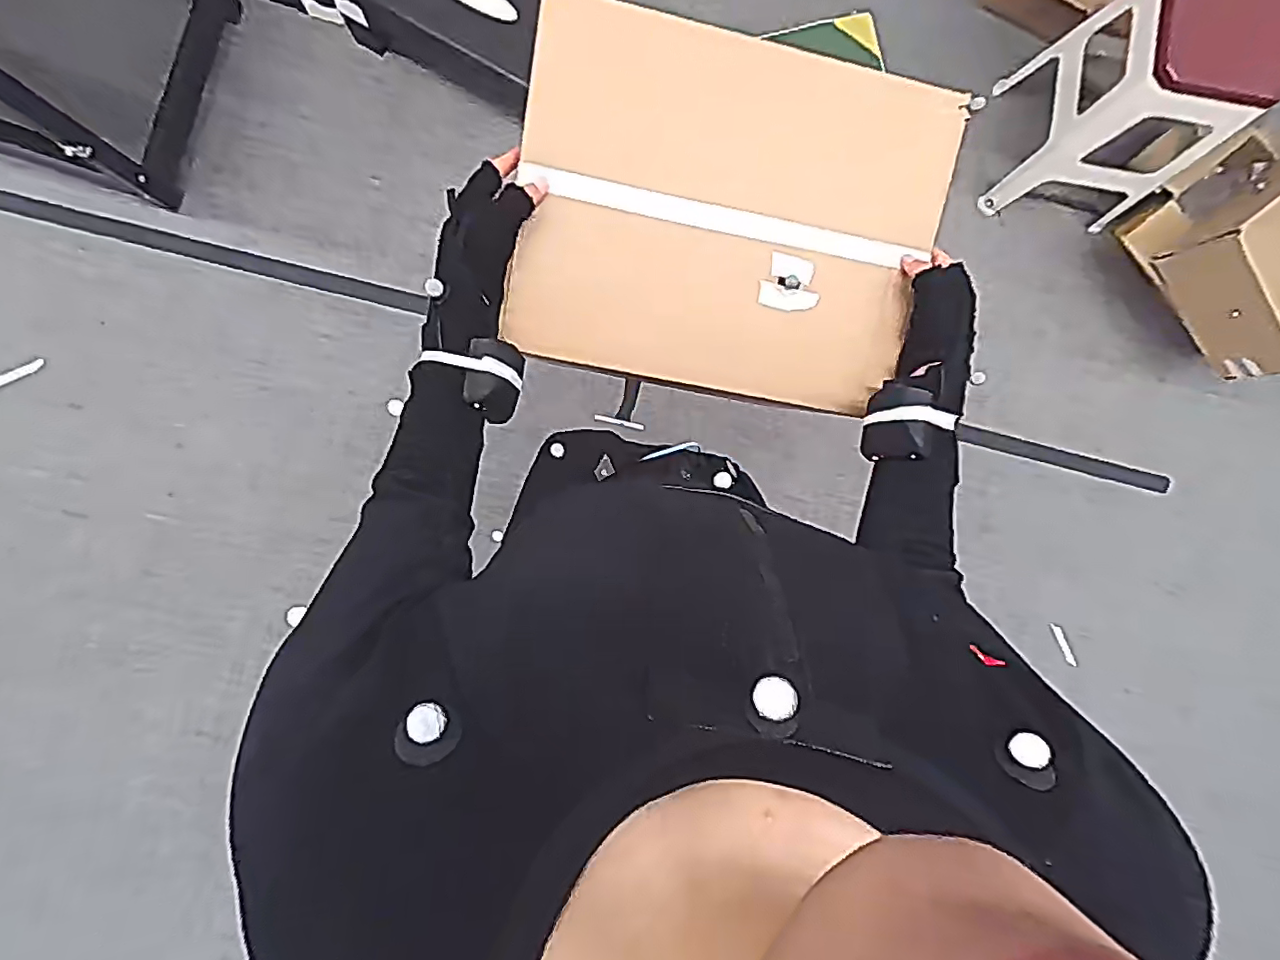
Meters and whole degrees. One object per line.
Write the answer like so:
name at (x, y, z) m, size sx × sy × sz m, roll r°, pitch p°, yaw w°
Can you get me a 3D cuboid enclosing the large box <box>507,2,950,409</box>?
large box at (0.071, -0.280, 0.676) m, size 0.408 × 0.320 × 0.320 m, roll 10°, pitch 101°, yaw -7°
